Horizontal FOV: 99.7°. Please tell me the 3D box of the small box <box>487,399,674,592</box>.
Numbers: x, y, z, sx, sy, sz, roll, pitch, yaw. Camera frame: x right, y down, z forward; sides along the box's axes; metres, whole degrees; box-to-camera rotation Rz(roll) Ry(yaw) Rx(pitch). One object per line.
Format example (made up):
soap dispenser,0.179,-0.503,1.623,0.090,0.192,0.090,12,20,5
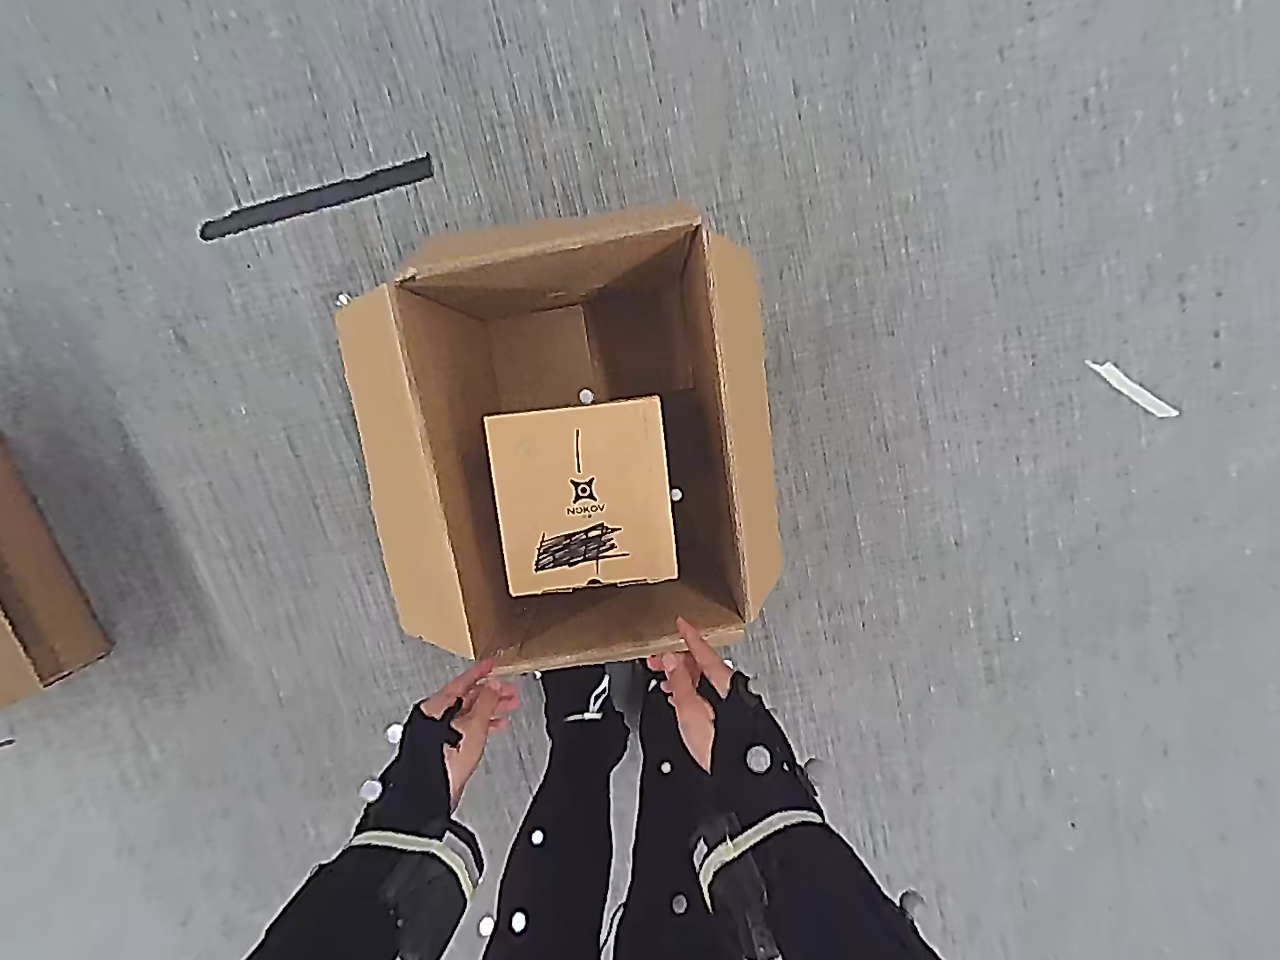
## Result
small box,-0.056,0.006,0.594,0.168,0.176,0.179,-6,97,-1
